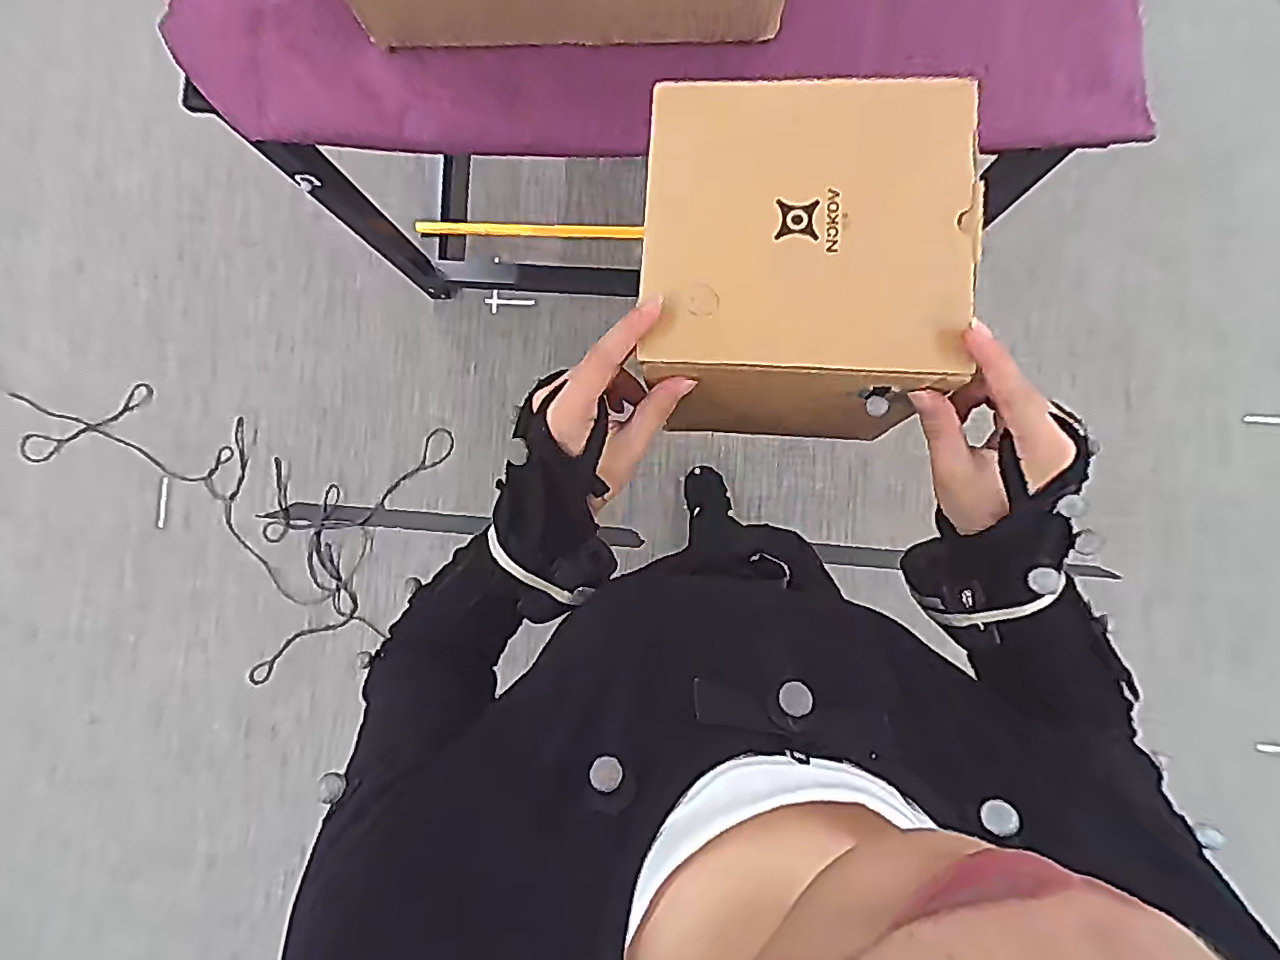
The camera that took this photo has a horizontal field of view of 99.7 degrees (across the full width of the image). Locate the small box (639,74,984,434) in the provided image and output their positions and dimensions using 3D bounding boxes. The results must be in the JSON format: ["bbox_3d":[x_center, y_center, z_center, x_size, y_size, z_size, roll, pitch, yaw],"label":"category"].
[{"bbox_3d":[0.099,-0.129,0.367,0.179,0.176,0.168,3,83,6],"label":"small box"}]
